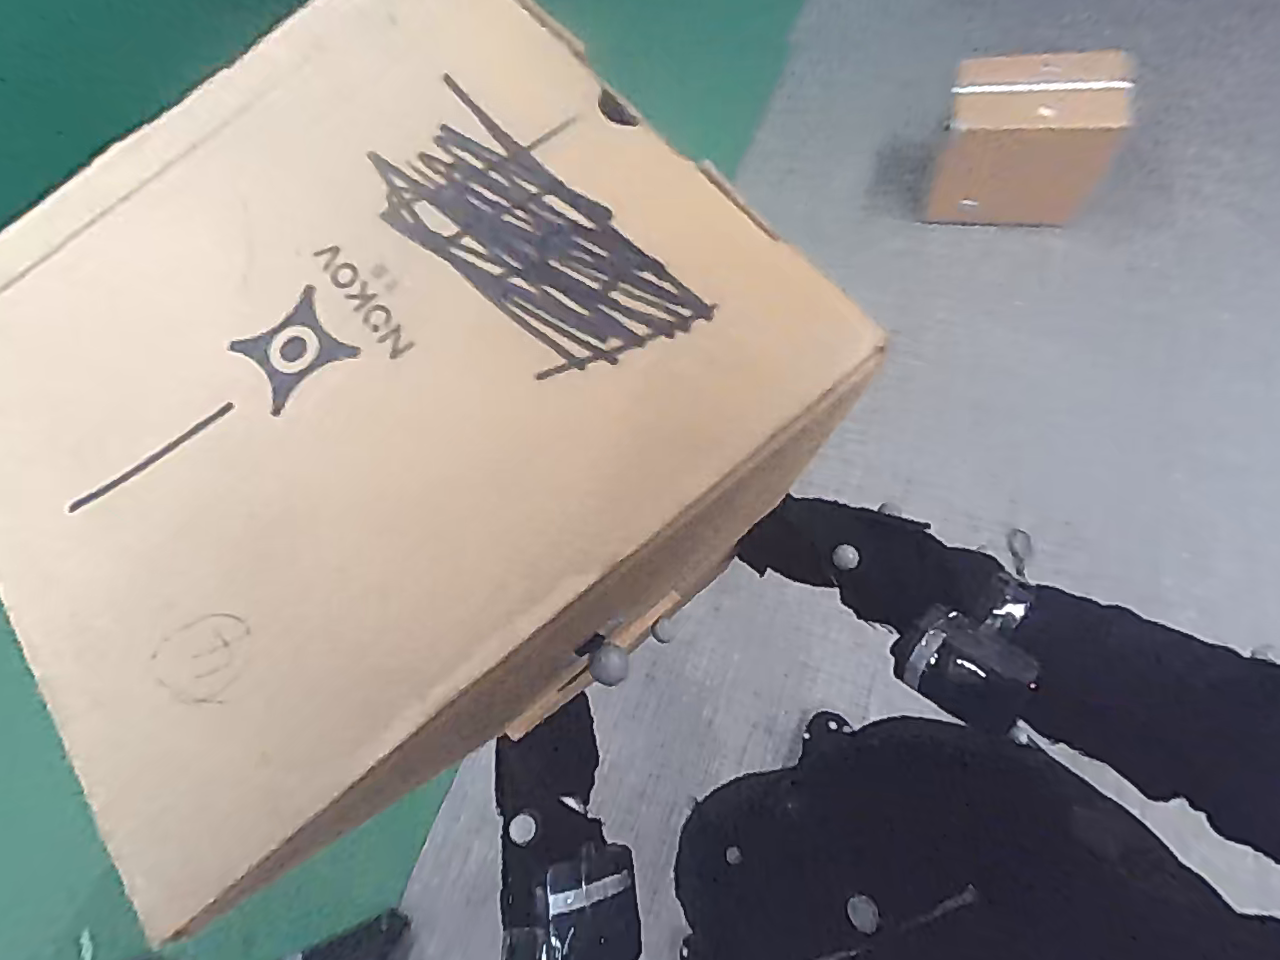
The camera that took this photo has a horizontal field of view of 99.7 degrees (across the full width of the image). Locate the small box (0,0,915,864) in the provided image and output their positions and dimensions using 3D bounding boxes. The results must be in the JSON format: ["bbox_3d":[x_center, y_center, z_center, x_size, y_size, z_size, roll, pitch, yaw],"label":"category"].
[{"bbox_3d":[-0.049,-0.024,0.201,0.179,0.176,0.168,-38,76,-2],"label":"small box"}]
